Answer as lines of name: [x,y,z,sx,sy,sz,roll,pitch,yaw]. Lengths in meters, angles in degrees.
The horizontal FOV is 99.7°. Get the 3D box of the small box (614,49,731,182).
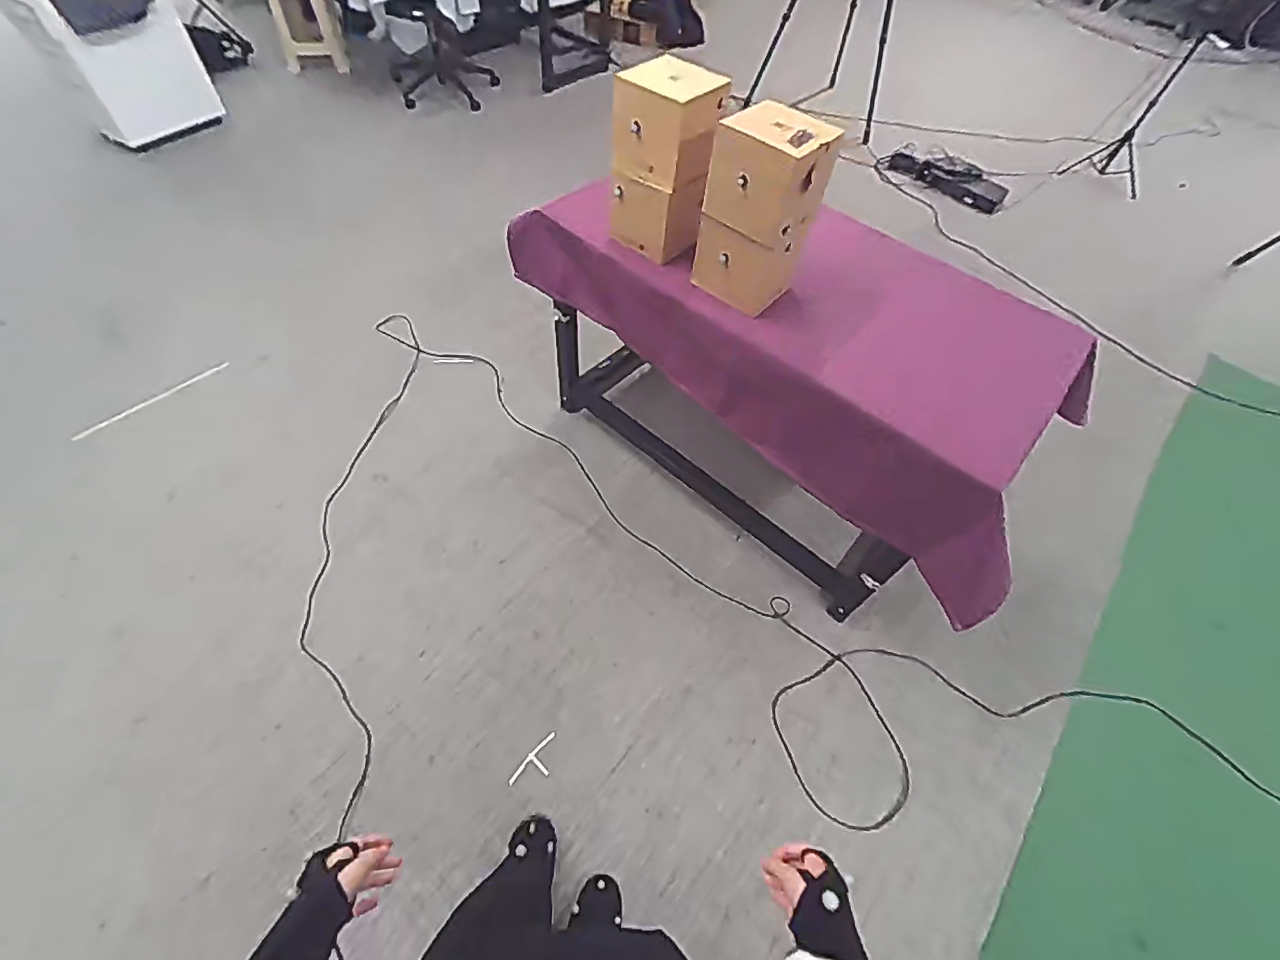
small box: [0.061,-0.748,1.116,0.168,0.176,0.179,34,59,17]

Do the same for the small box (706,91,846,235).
small box: [0.248,-0.592,1.023,0.179,0.176,0.168,38,61,20]

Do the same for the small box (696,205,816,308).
small box: [0.239,-0.502,1.161,0.179,0.176,0.168,37,61,19]
